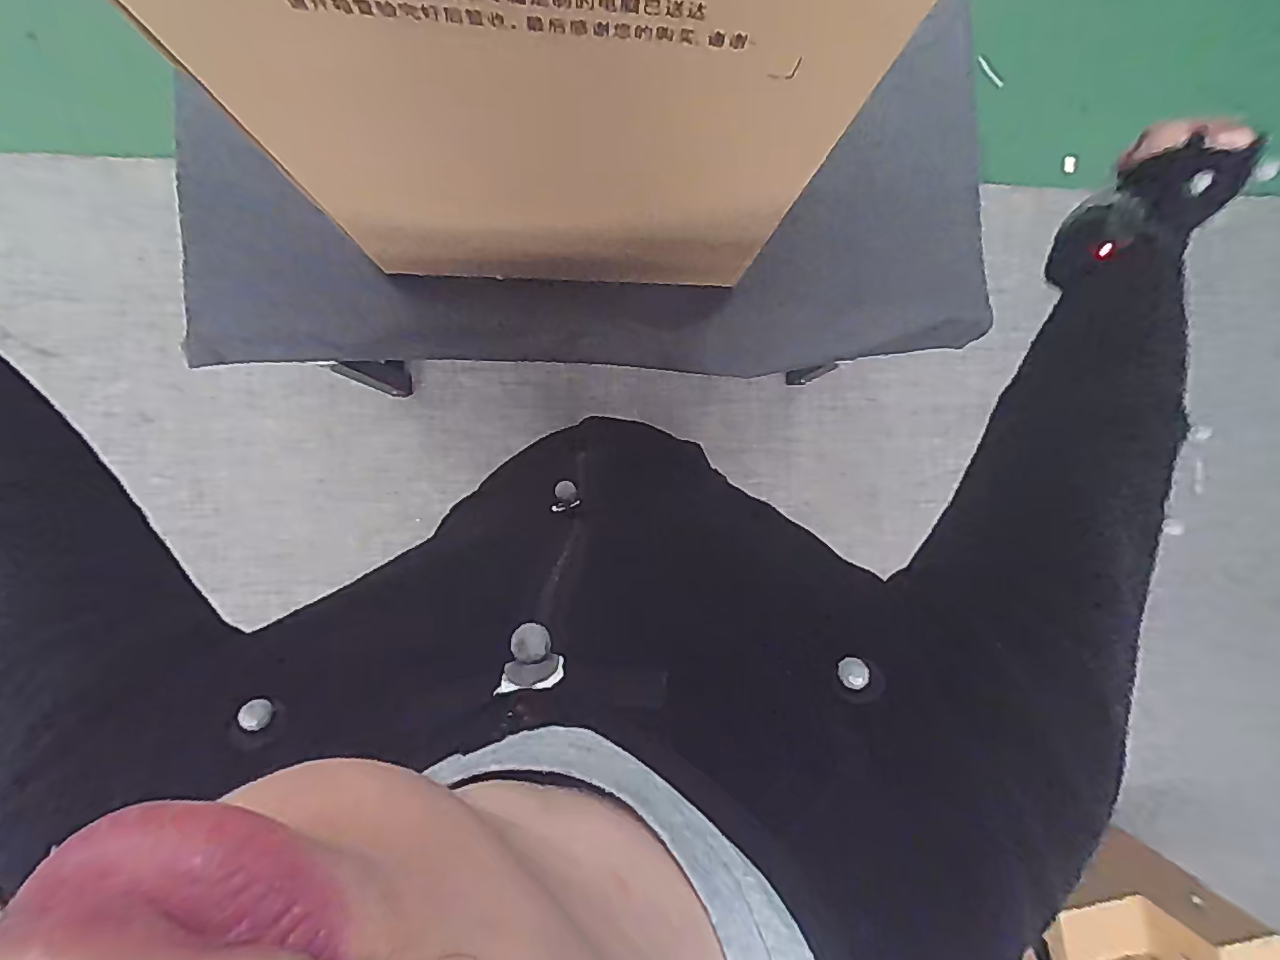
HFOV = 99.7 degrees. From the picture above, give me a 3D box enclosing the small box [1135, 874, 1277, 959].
[{"bbox_3d":[1.334,1.087,1.281,0.168,0.176,0.179,-6,88,-4],"label":"small box"}]
